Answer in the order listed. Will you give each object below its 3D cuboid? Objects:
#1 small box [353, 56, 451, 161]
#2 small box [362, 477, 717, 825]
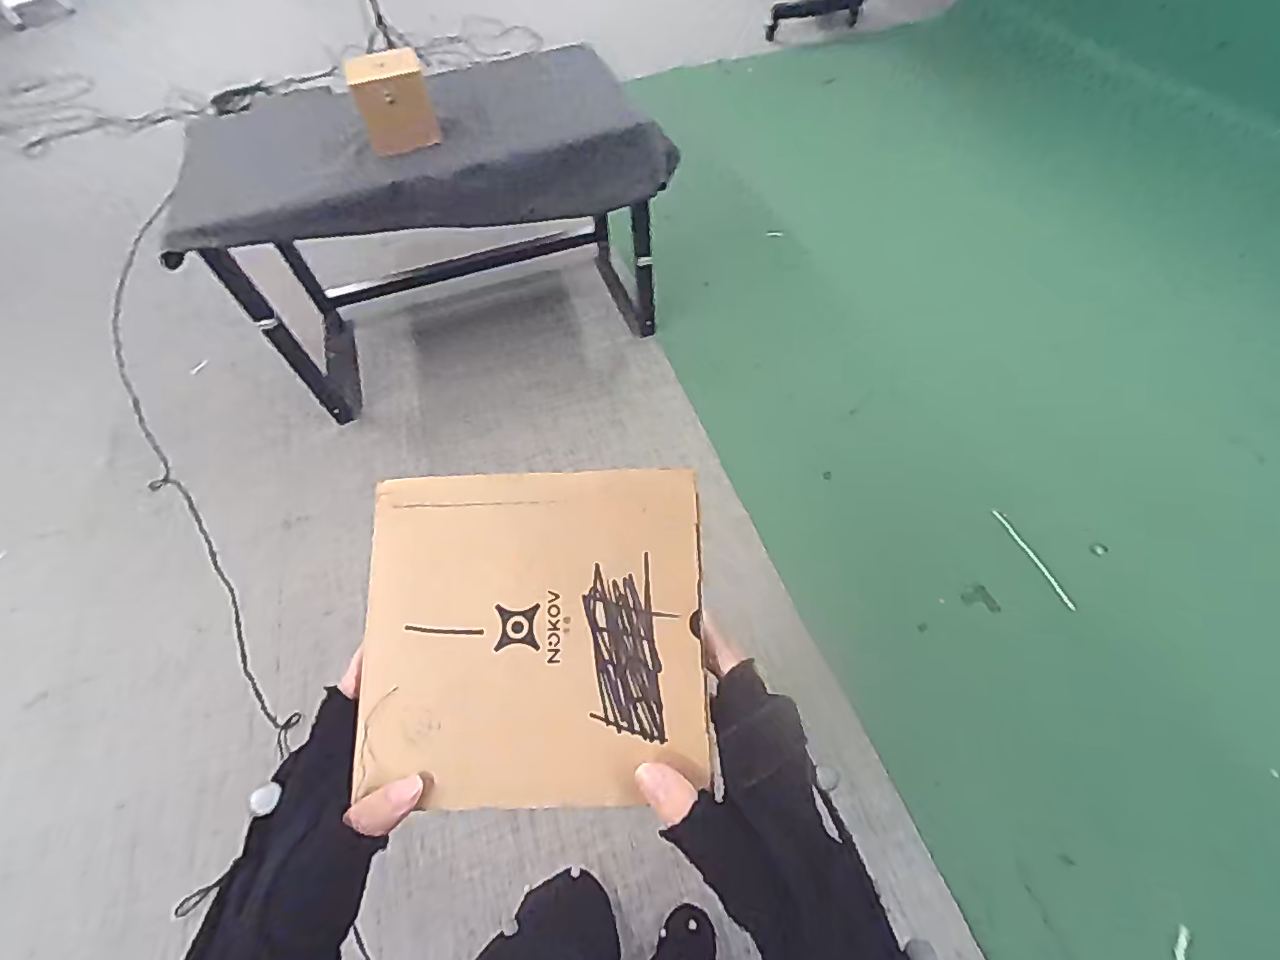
[{"bbox_3d":[-0.611,-0.953,1.395,0.179,0.176,0.168,-18,58,-9],"label":"small box"},{"bbox_3d":[-0.055,0.099,0.358,0.179,0.176,0.168,-5,77,-1],"label":"small box"}]
